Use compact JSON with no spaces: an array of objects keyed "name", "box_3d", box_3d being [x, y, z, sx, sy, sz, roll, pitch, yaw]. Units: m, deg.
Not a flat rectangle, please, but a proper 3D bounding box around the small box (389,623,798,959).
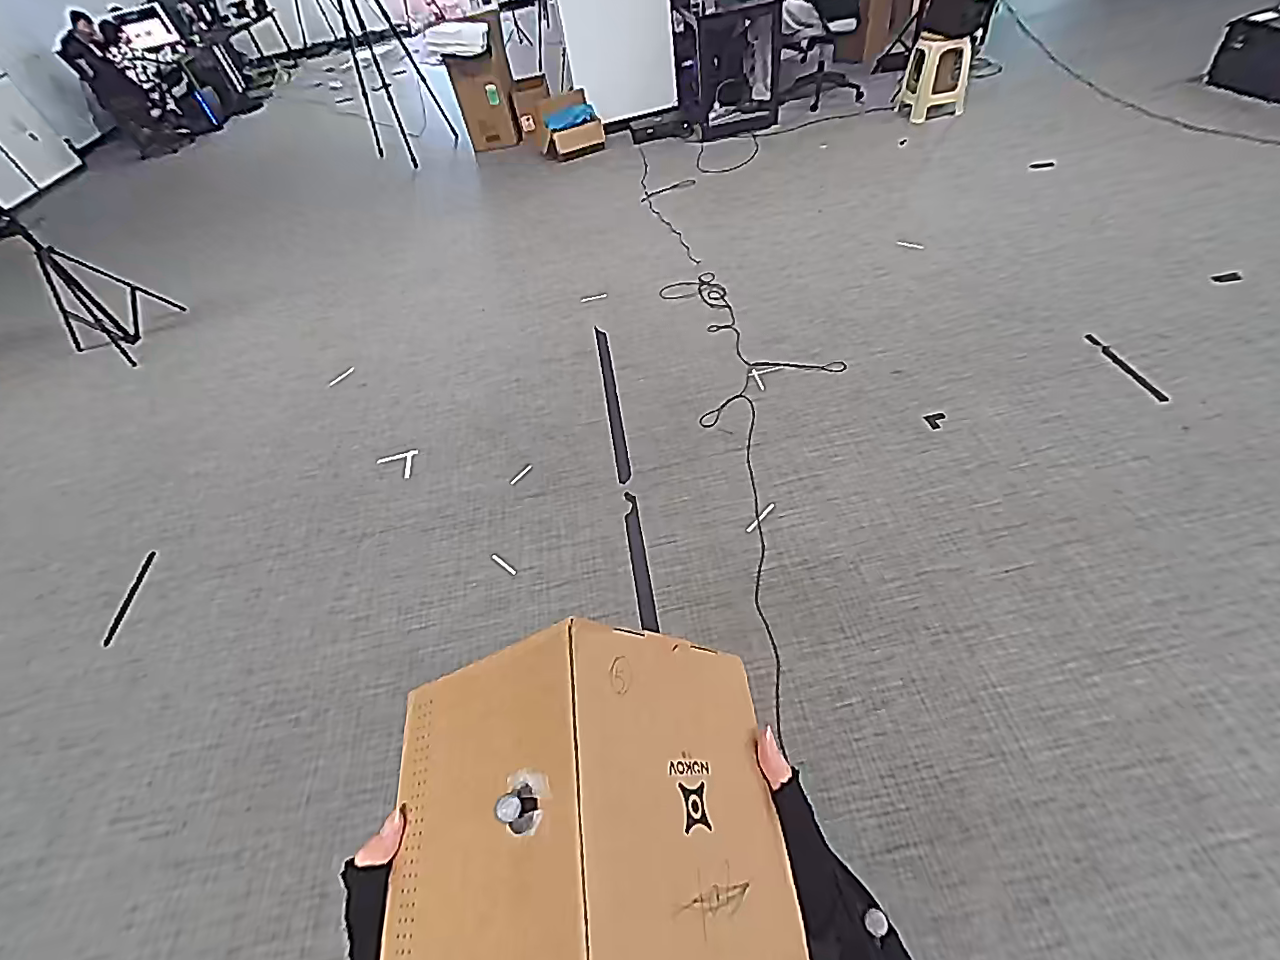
[{"name":"small box","box_3d":[-0.034,0.214,0.341,0.176,0.168,0.179,-32,49,31]}]
